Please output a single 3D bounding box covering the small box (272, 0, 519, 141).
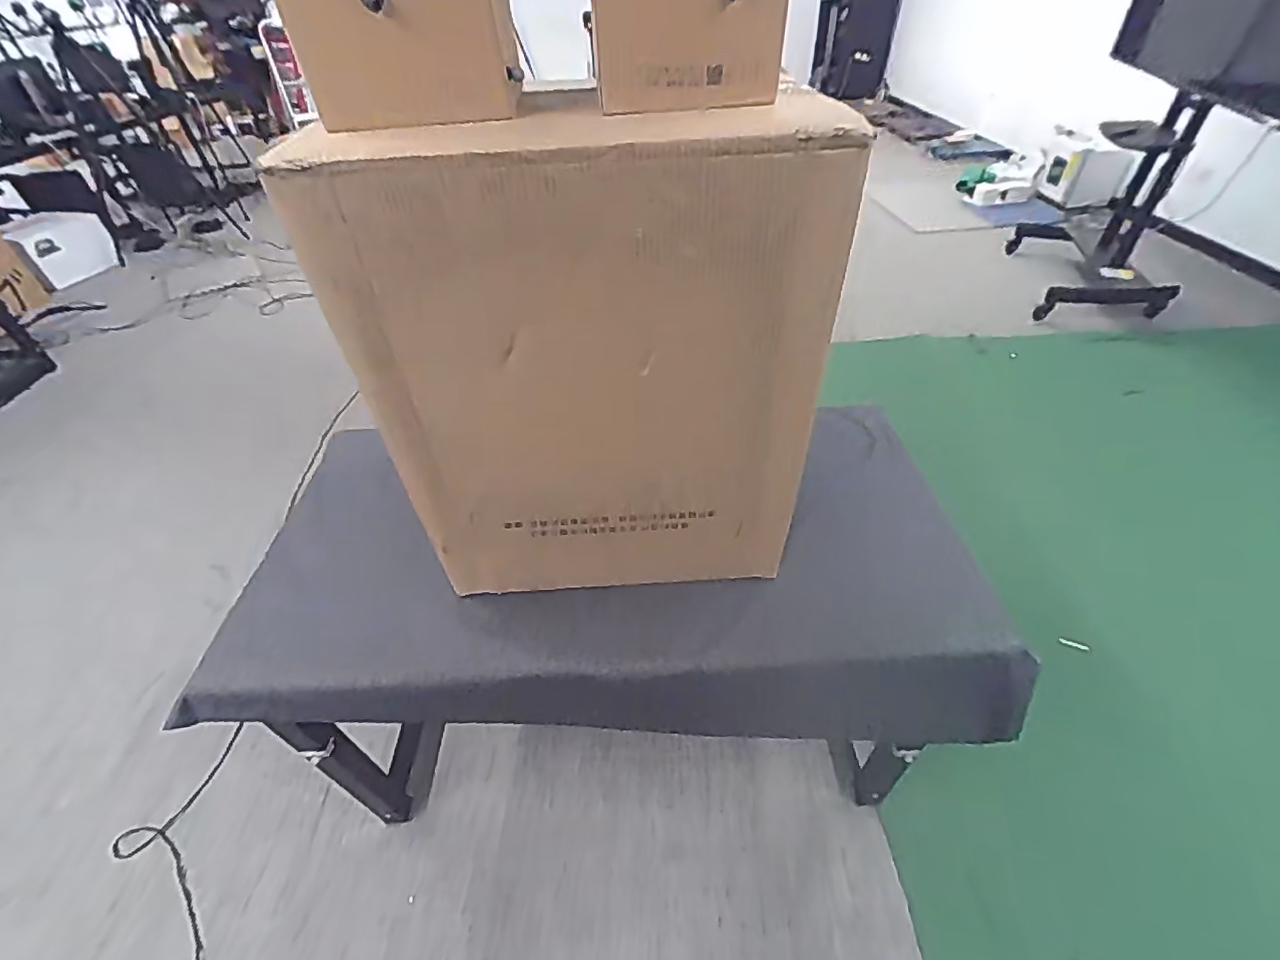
[{"bbox_3d":[-0.219,-0.440,0.507,0.179,0.176,0.168,-6,46,-1],"label":"small box"}]

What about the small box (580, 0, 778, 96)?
[{"bbox_3d":[0.029,-0.471,0.500,0.168,0.176,0.179,-8,47,-5],"label":"small box"}]
